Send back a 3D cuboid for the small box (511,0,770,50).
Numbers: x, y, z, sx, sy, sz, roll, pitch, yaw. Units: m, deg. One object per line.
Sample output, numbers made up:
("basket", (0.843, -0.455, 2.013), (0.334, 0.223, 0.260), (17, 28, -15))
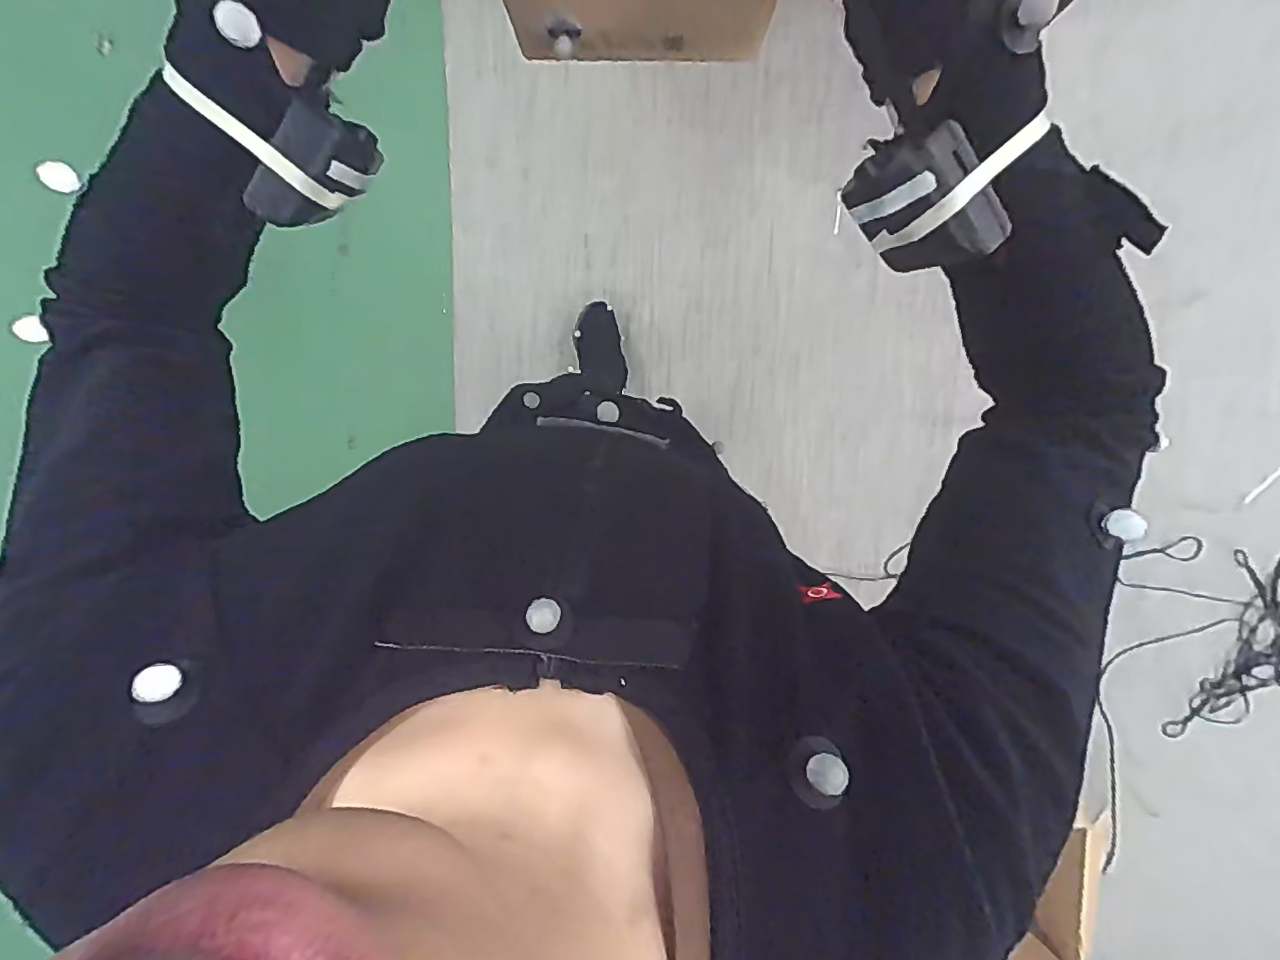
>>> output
("small box", (0.000, -0.362, 0.274), (0.168, 0.176, 0.179), (1, 97, 0))
